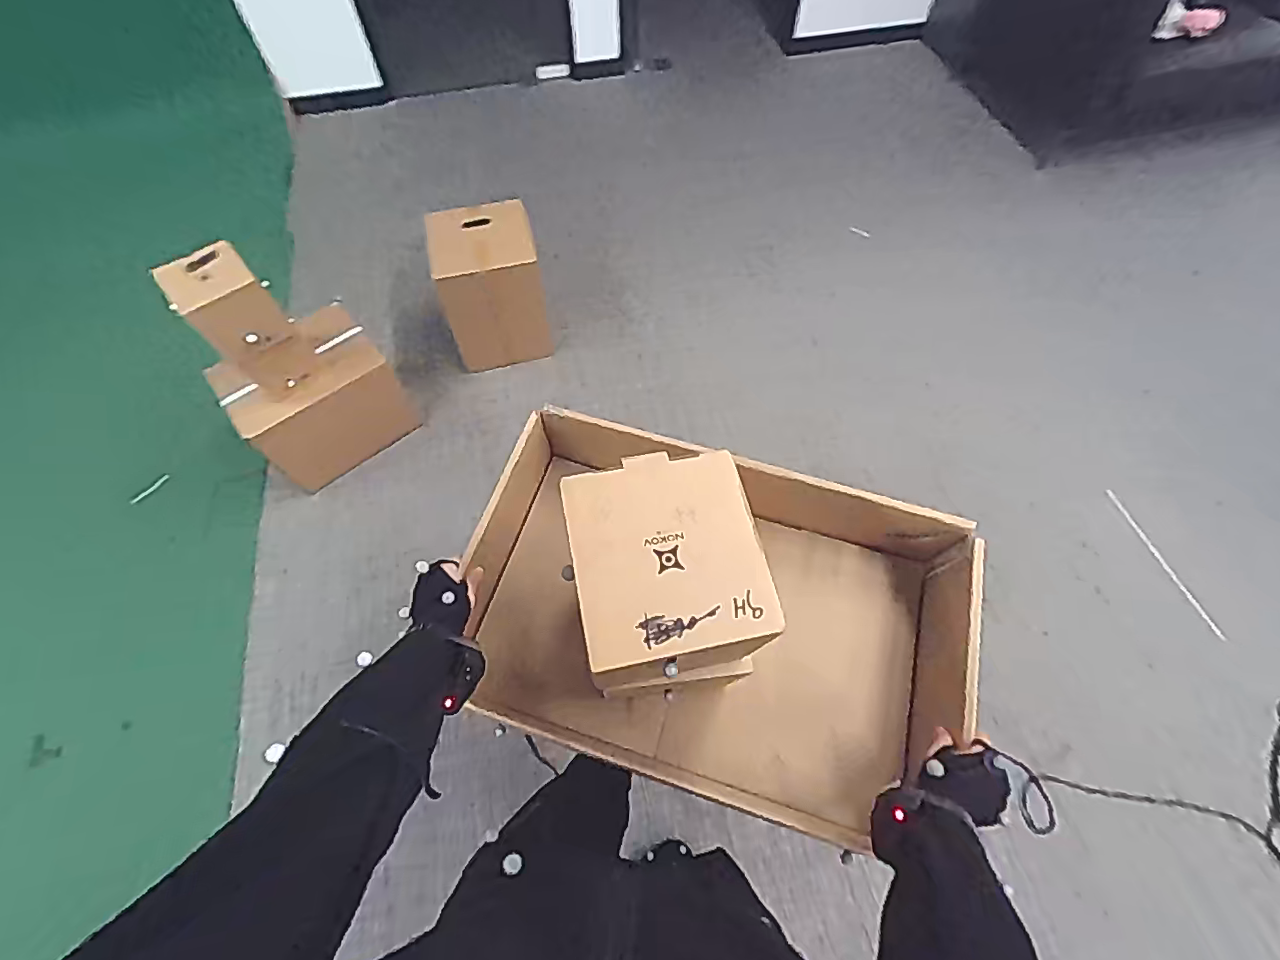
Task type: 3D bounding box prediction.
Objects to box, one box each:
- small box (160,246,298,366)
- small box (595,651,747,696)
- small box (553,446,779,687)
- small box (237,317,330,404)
[{"bbox_3d":[-0.956,-0.404,1.269,0.168,0.176,0.179,-38,68,-18],"label":"small box"},{"bbox_3d":[0.024,0.171,0.680,0.168,0.176,0.179,-6,64,-5],"label":"small box"},{"bbox_3d":[0.014,0.092,0.535,0.168,0.176,0.179,-11,65,-6],"label":"small box"},{"bbox_3d":[-0.963,-0.332,1.417,0.179,0.176,0.168,40,69,20],"label":"small box"}]
